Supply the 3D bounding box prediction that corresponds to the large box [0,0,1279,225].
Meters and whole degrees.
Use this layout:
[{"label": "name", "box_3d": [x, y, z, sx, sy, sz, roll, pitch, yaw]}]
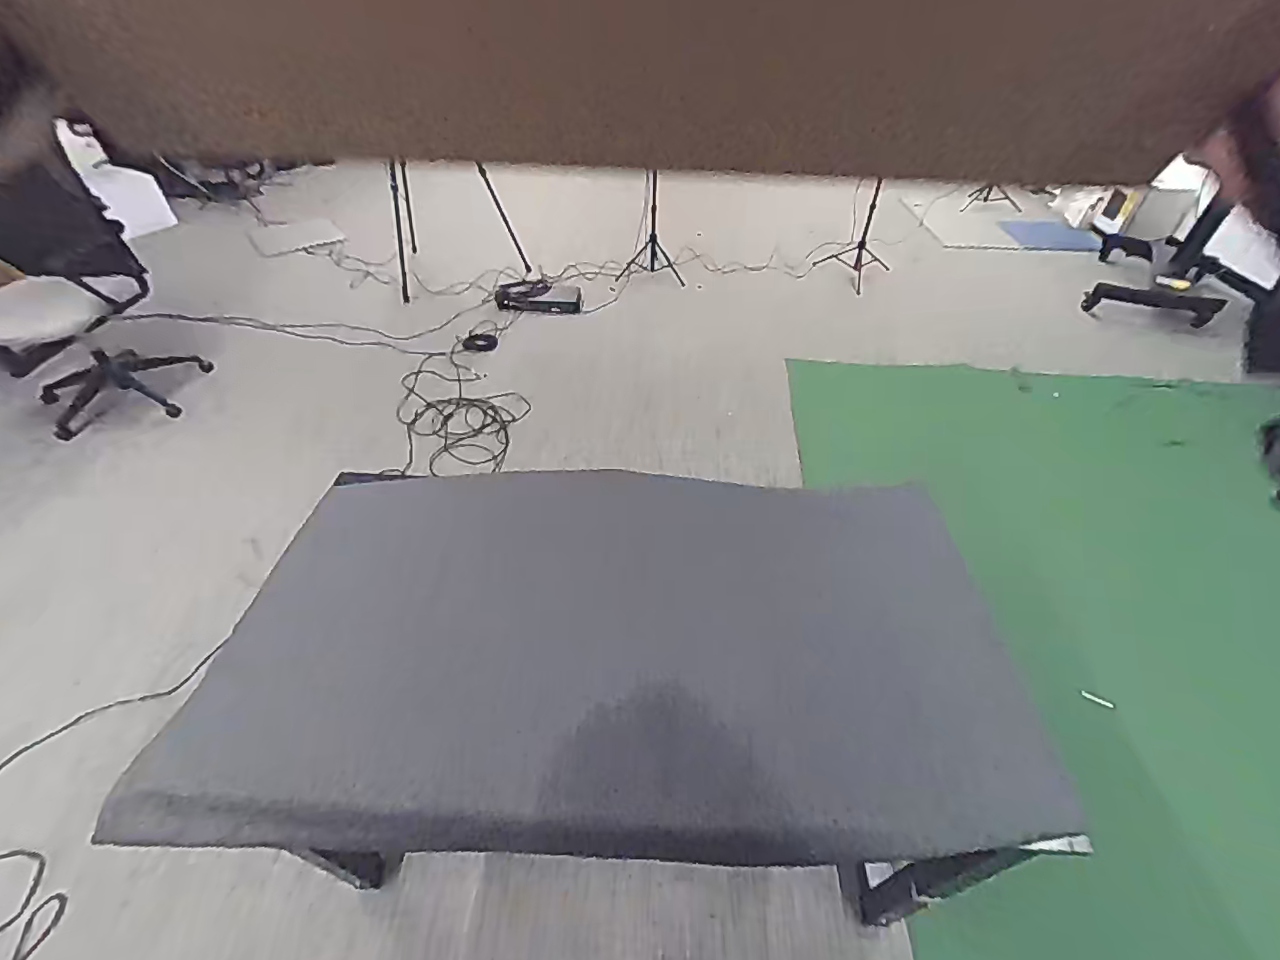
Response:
[{"label": "large box", "box_3d": [-0.001, -0.297, 0.134, 0.408, 0.320, 0.320, 2, 74, -1]}]
